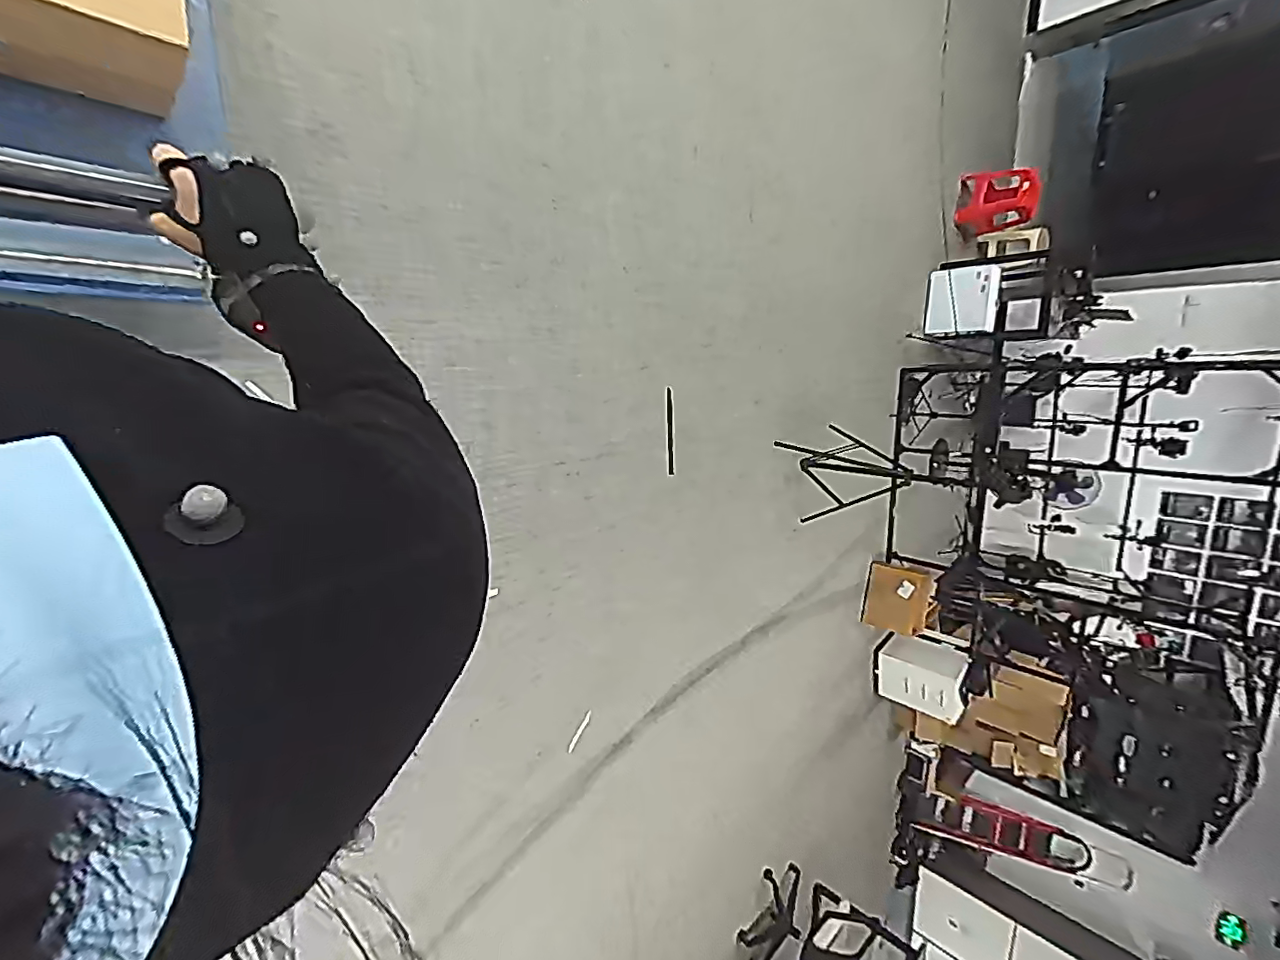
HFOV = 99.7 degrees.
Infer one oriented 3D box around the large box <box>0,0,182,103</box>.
[{"bbox_3d":[-0.882,-0.763,0.694,0.408,0.320,0.320,-9,105,-43],"label":"large box"}]
